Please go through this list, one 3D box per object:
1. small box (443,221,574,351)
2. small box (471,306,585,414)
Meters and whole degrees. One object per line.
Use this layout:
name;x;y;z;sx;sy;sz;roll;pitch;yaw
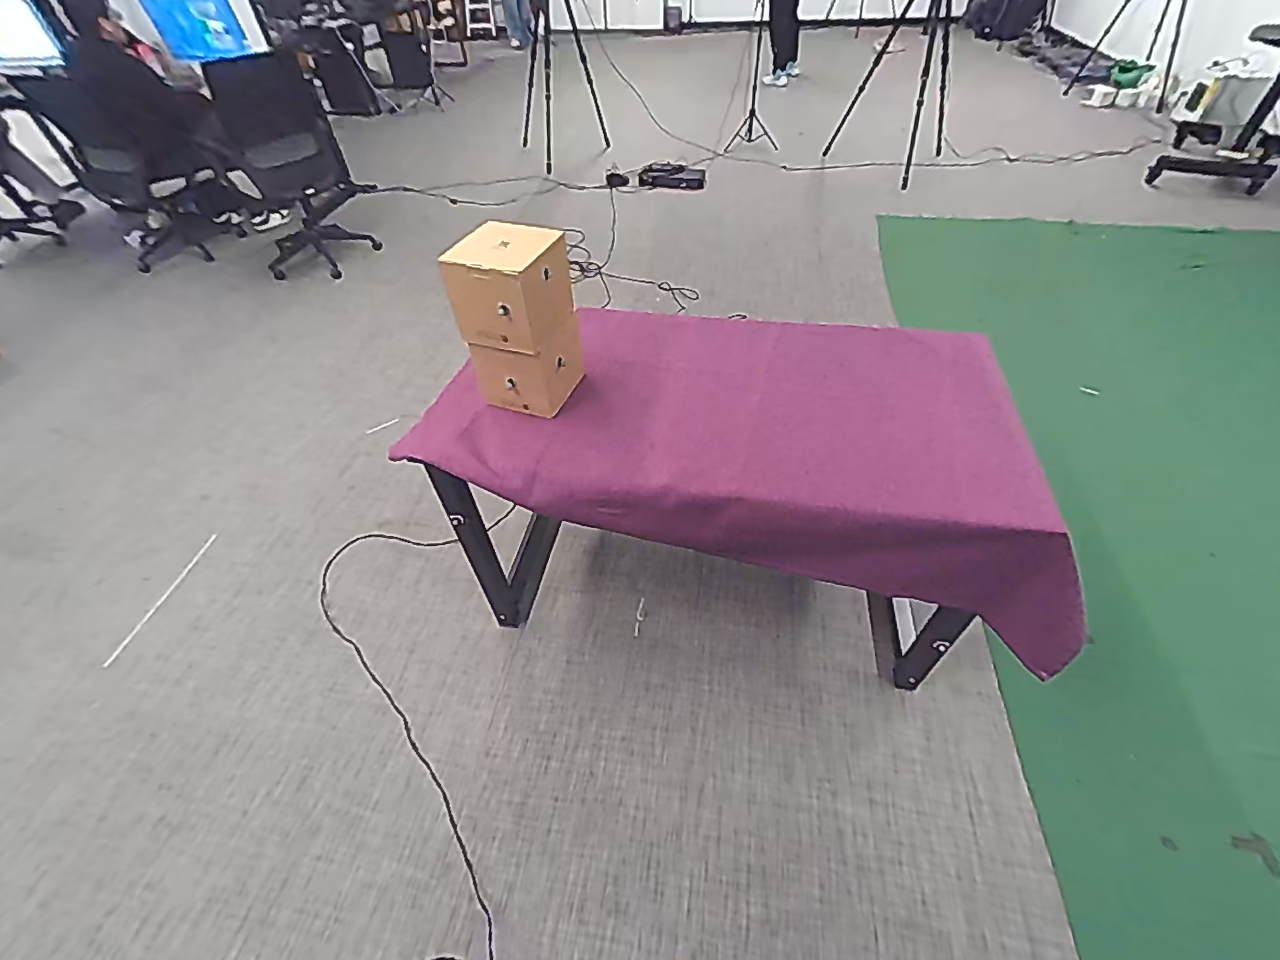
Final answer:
small box;-0.238;-0.369;1.035;0.168;0.176;0.179;15;49;15
small box;-0.229;-0.265;1.162;0.168;0.176;0.179;14;50;15
